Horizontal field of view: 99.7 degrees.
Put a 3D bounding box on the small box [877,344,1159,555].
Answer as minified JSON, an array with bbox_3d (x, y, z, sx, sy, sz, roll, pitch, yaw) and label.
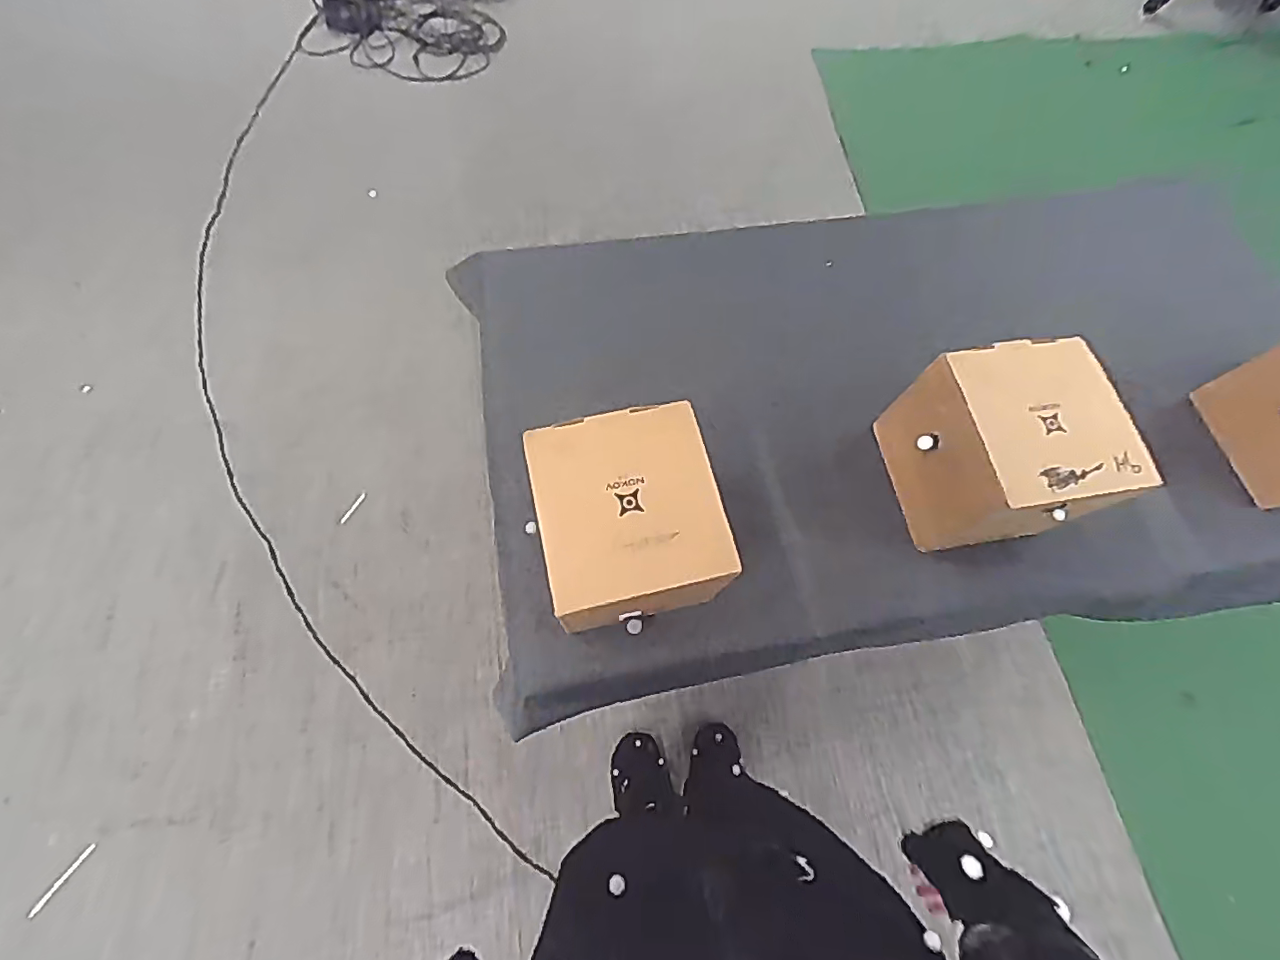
[{"bbox_3d":[0.402,-0.028,0.616,0.168,0.176,0.179,-8,68,-6],"label":"small box"}]

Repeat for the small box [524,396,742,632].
[{"bbox_3d":[-0.014,0.042,0.541,0.168,0.176,0.179,-10,69,-6],"label":"small box"}]

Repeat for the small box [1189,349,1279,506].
[{"bbox_3d":[0.858,-0.075,0.660,0.168,0.176,0.179,-8,67,-6],"label":"small box"}]
